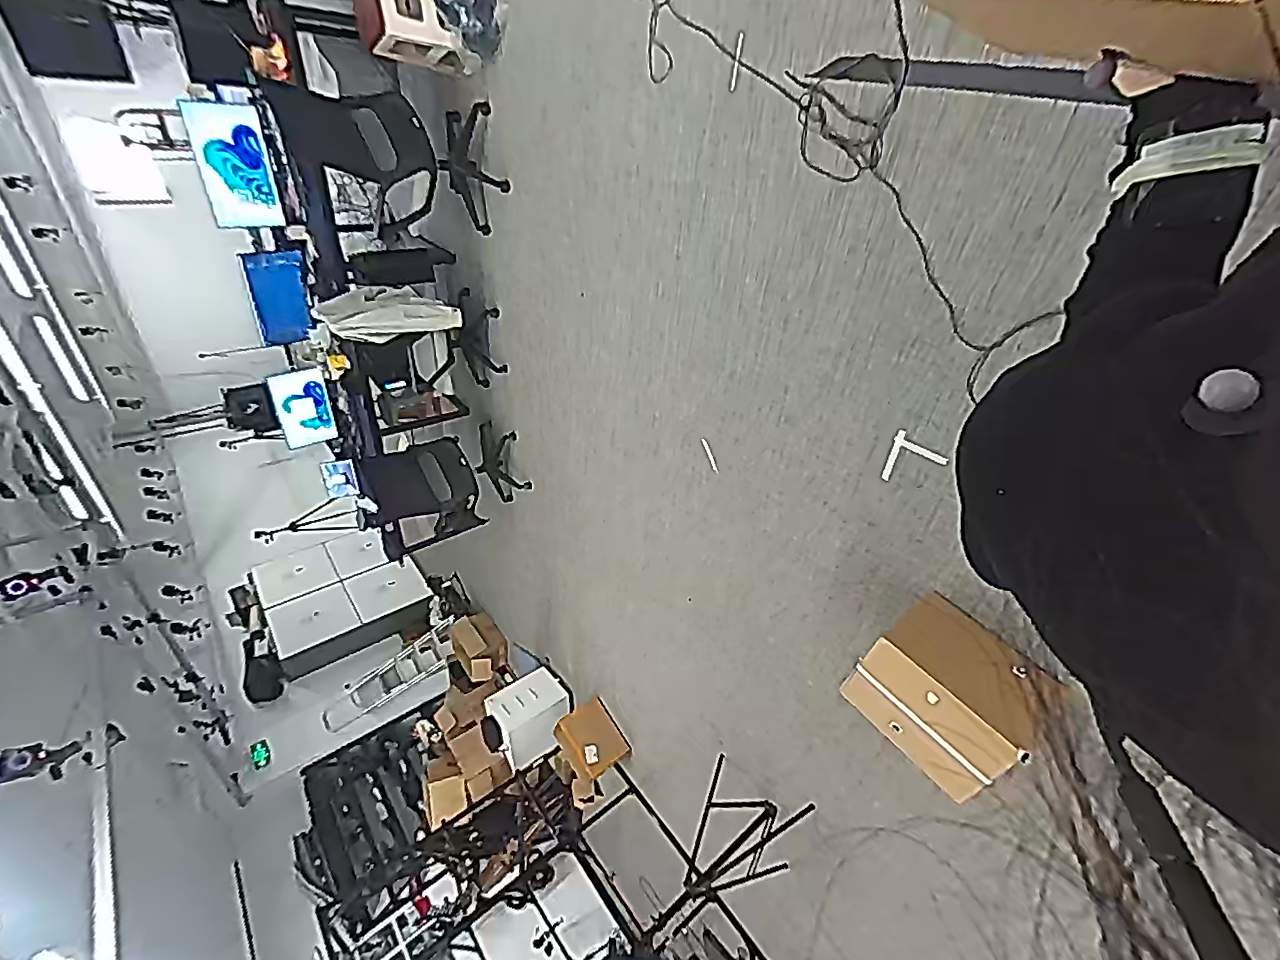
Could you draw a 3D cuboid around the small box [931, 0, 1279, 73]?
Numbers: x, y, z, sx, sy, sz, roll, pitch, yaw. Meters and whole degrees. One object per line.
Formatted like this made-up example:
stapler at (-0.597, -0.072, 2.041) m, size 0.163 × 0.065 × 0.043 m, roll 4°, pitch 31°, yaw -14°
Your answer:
small box at (0.281, -0.324, 0.267) m, size 0.179 × 0.176 × 0.168 m, roll 43°, pitch 134°, yaw 34°
